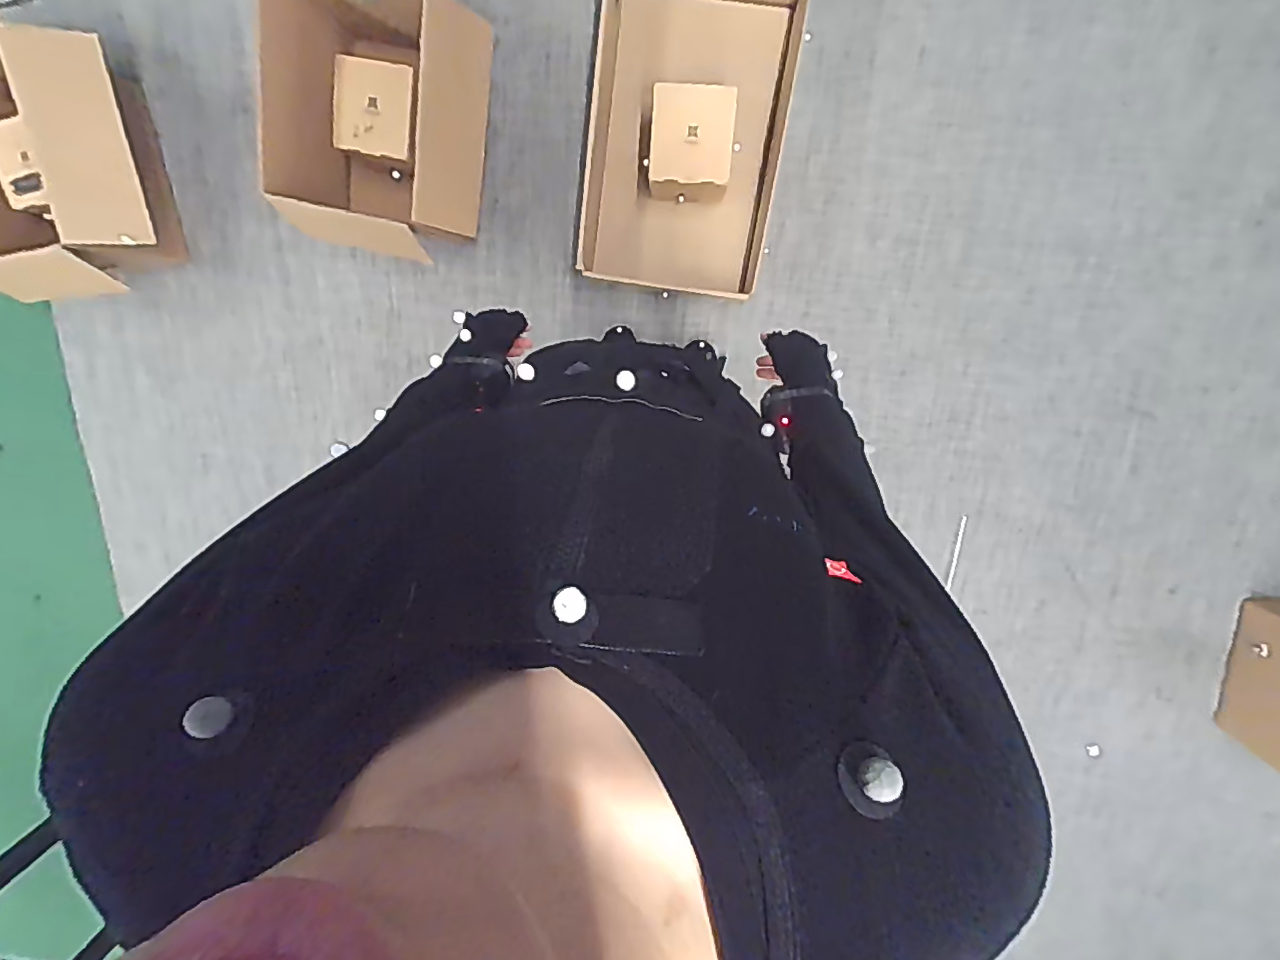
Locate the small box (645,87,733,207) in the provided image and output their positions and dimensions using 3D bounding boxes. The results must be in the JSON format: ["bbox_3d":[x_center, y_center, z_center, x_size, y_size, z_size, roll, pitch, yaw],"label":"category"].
[{"bbox_3d":[0.099,-0.703,1.157,0.168,0.176,0.179,4,105,2],"label":"small box"}]
